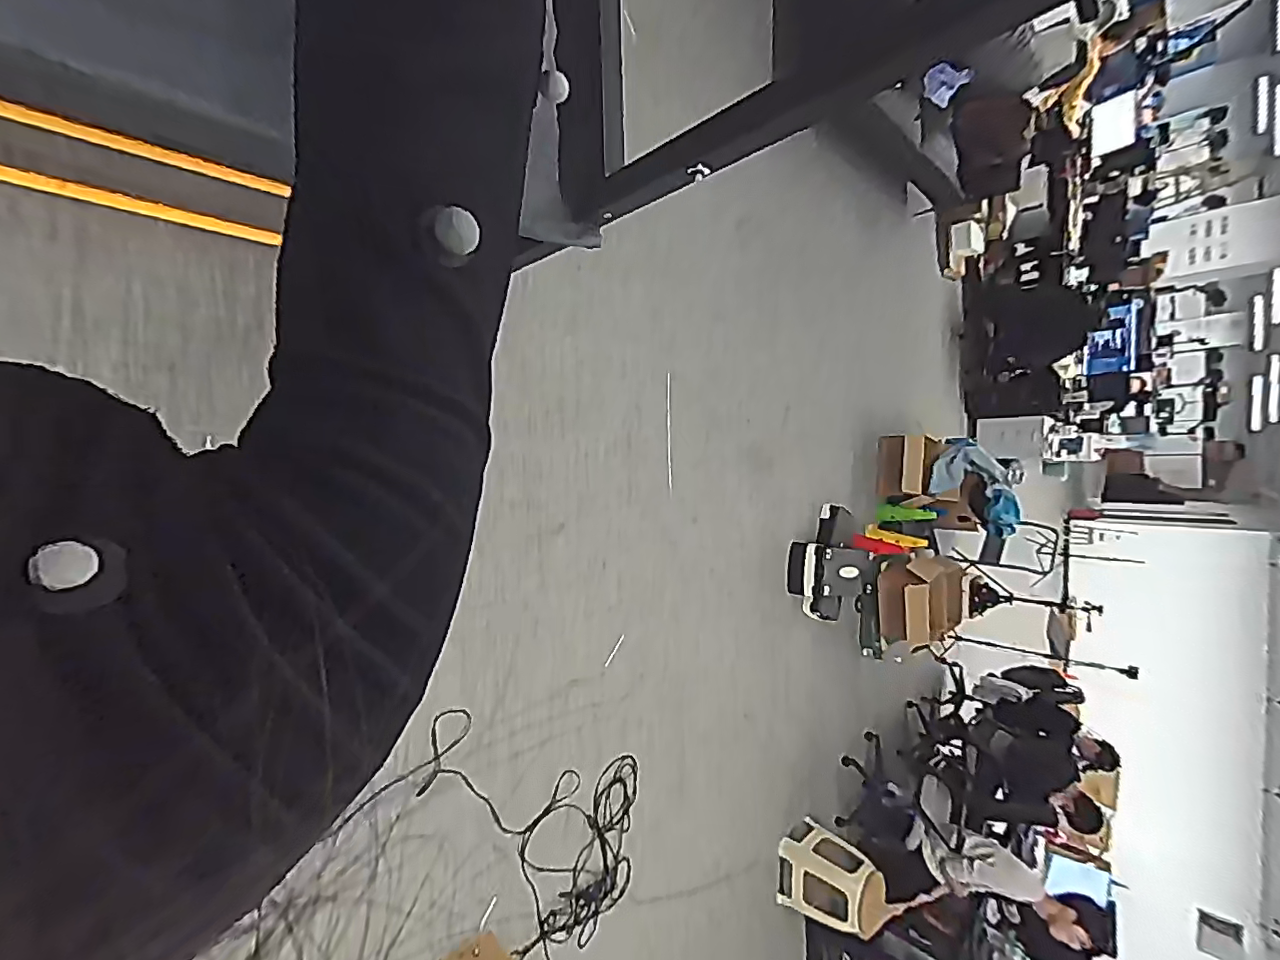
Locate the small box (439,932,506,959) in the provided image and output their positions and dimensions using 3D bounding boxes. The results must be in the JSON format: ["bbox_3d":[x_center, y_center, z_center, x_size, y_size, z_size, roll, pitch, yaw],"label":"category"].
[{"bbox_3d":[-0.489,1.500,1.587,0.168,0.176,0.179,-3,93,-46],"label":"small box"}]
